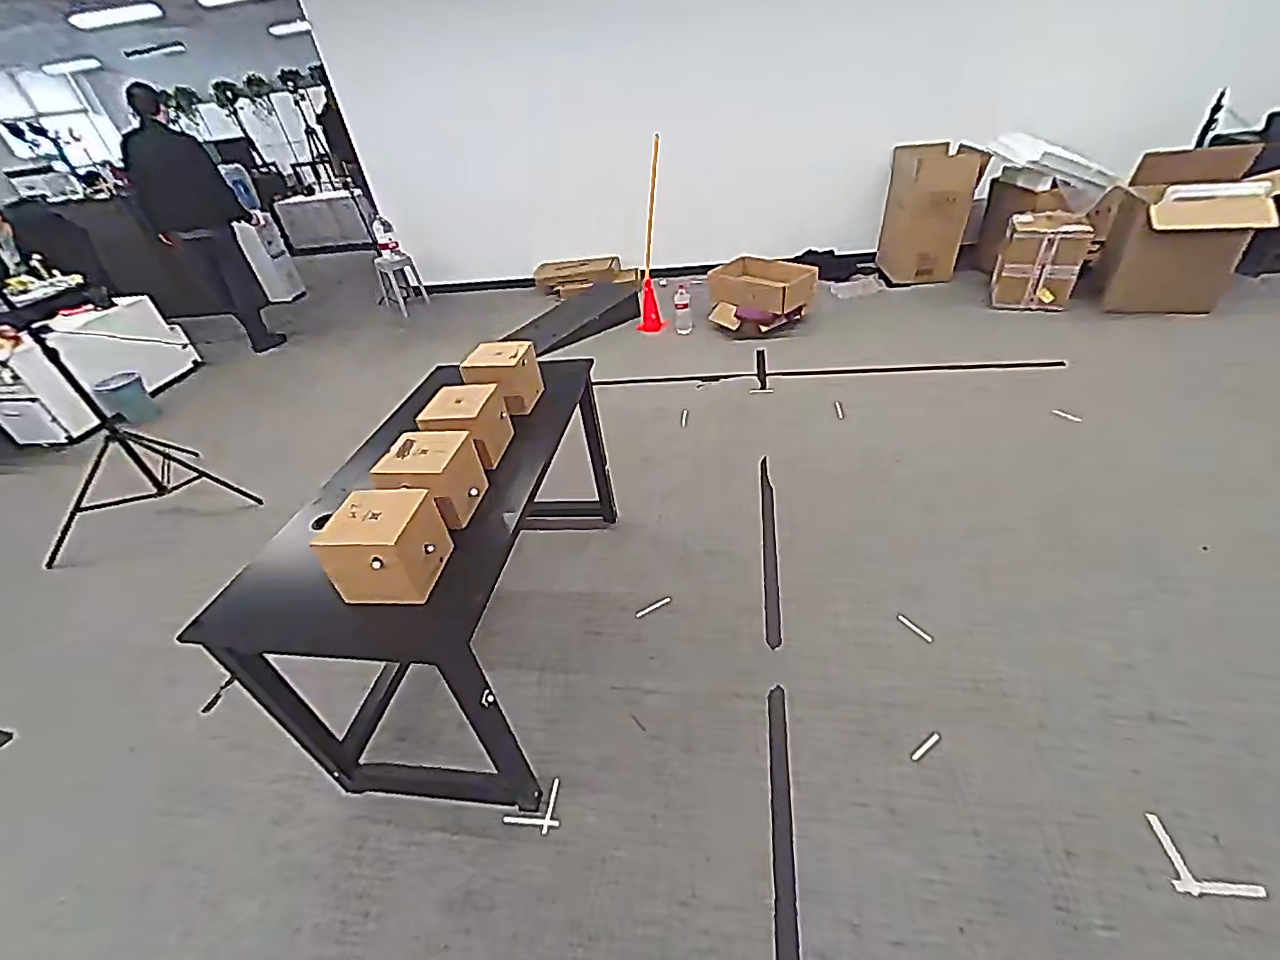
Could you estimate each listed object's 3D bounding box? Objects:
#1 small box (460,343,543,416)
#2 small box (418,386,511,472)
[{"bbox_3d":[-0.422,-0.309,1.674,0.179,0.176,0.168,0,39,12],"label":"small box"},{"bbox_3d":[-0.464,-0.138,1.466,0.168,0.176,0.179,-2,39,10],"label":"small box"}]
